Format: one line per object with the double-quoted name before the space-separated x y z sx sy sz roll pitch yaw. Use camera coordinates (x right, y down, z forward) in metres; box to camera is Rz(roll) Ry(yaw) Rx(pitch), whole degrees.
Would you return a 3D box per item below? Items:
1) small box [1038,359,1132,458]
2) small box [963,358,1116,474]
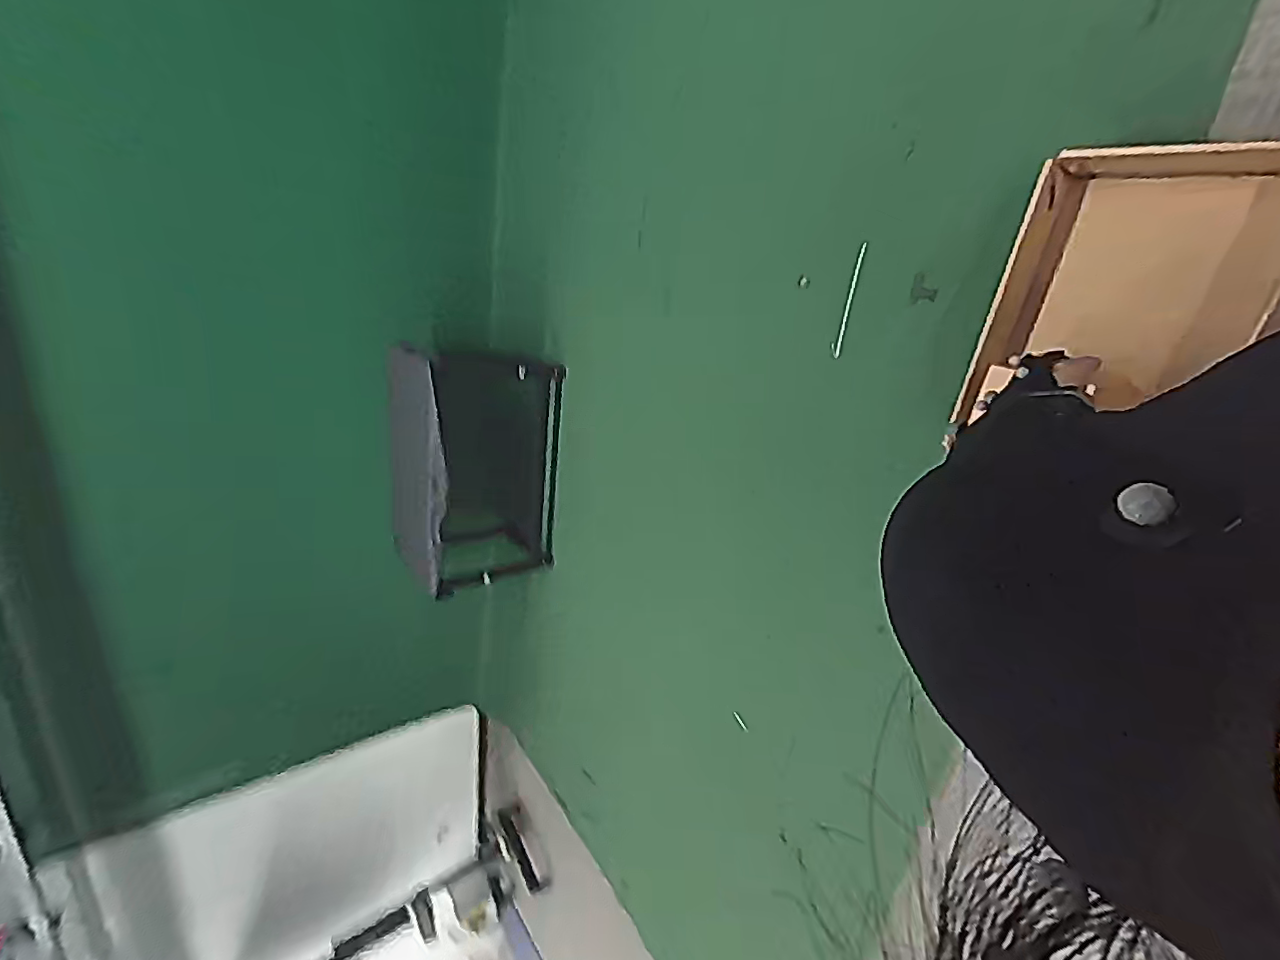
"small box" 0.878 -0.157 1.128 0.179 0.176 0.168 29 119 45
"small box" 0.756 -0.127 1.022 0.168 0.176 0.179 30 119 44
